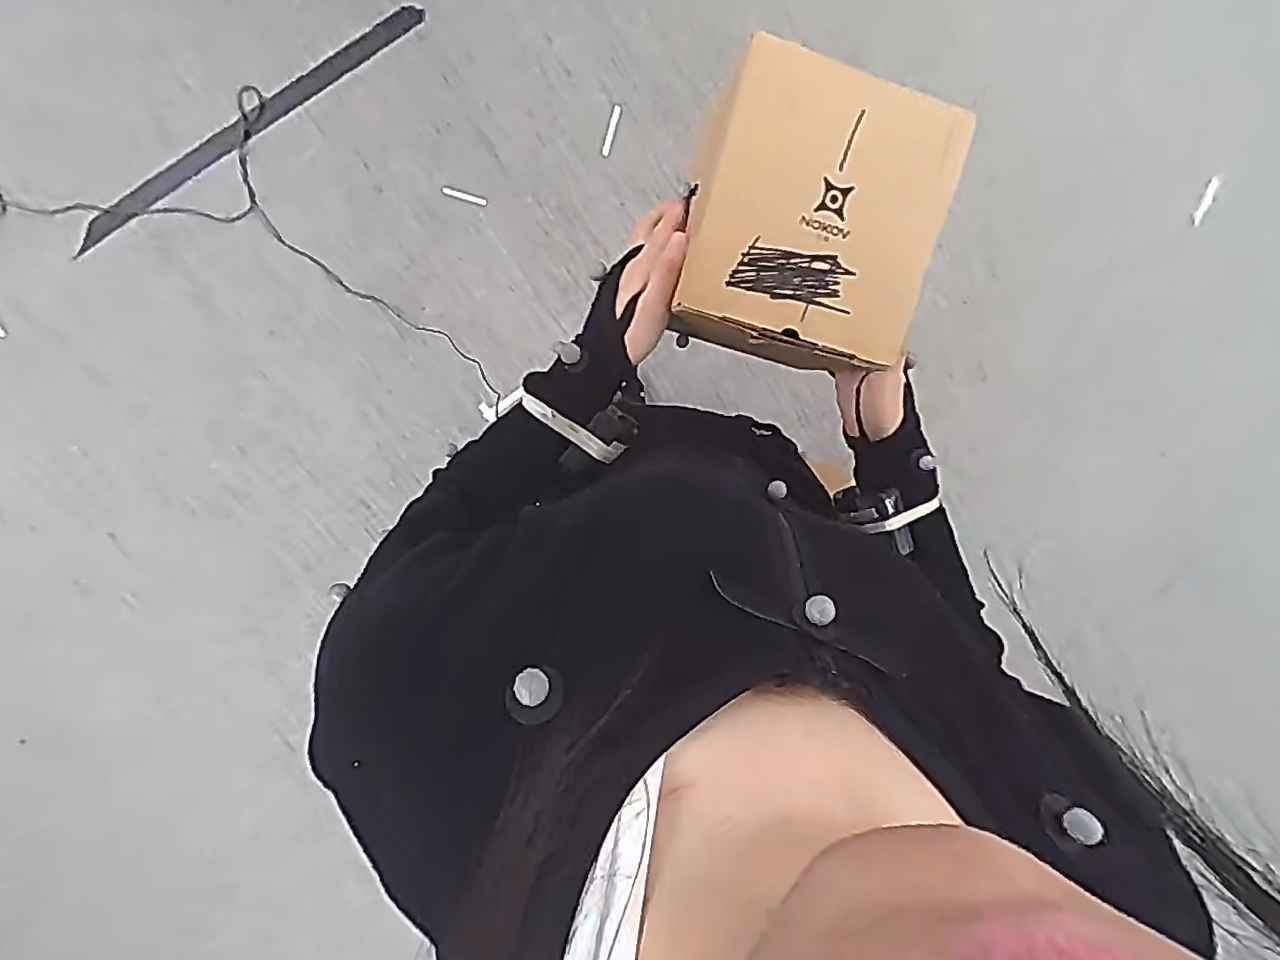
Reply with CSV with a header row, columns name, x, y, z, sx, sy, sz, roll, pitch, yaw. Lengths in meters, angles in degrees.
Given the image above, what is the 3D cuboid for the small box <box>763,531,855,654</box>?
name,x,y,z,sx,sy,sz,roll,pitch,yaw
small box,0.393,0.233,1.169,0.179,0.176,0.168,-34,99,4

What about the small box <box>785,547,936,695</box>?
name,x,y,z,sx,sy,sz,roll,pitch,yaw
small box,0.399,0.252,1.008,0.168,0.176,0.179,-33,98,3

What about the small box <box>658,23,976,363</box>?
name,x,y,z,sx,sy,sz,roll,pitch,yaw
small box,0.118,-0.201,0.440,0.168,0.176,0.179,14,99,-8
